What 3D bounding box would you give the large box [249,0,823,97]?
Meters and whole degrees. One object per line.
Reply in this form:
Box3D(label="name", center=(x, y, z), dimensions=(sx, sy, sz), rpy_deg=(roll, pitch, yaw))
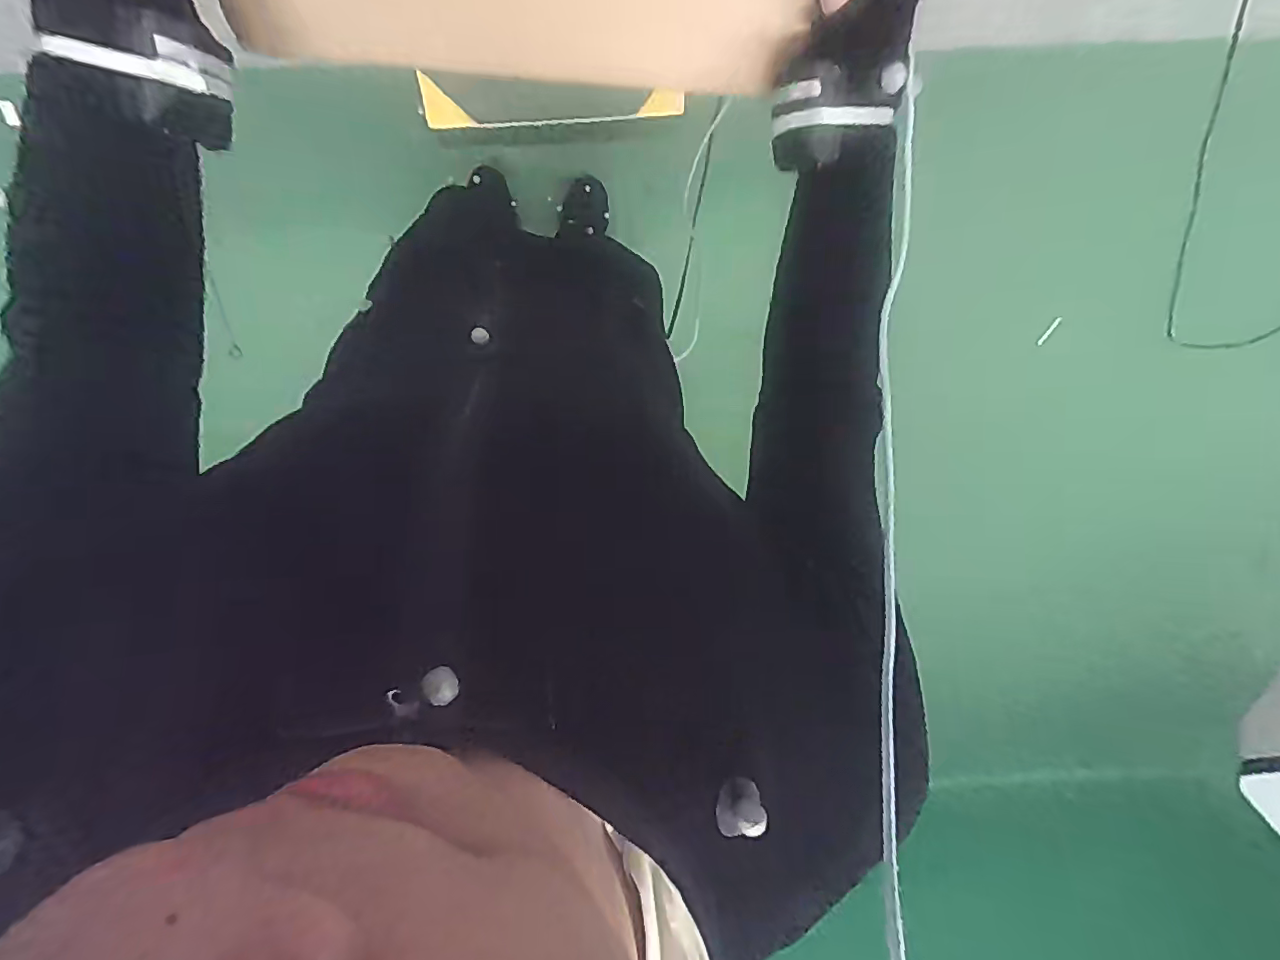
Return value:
Box3D(label="large box", center=(-0.070, -0.513, 0.384), dimensions=(0.408, 0.320, 0.320), rpy_deg=(0, 143, -5))
